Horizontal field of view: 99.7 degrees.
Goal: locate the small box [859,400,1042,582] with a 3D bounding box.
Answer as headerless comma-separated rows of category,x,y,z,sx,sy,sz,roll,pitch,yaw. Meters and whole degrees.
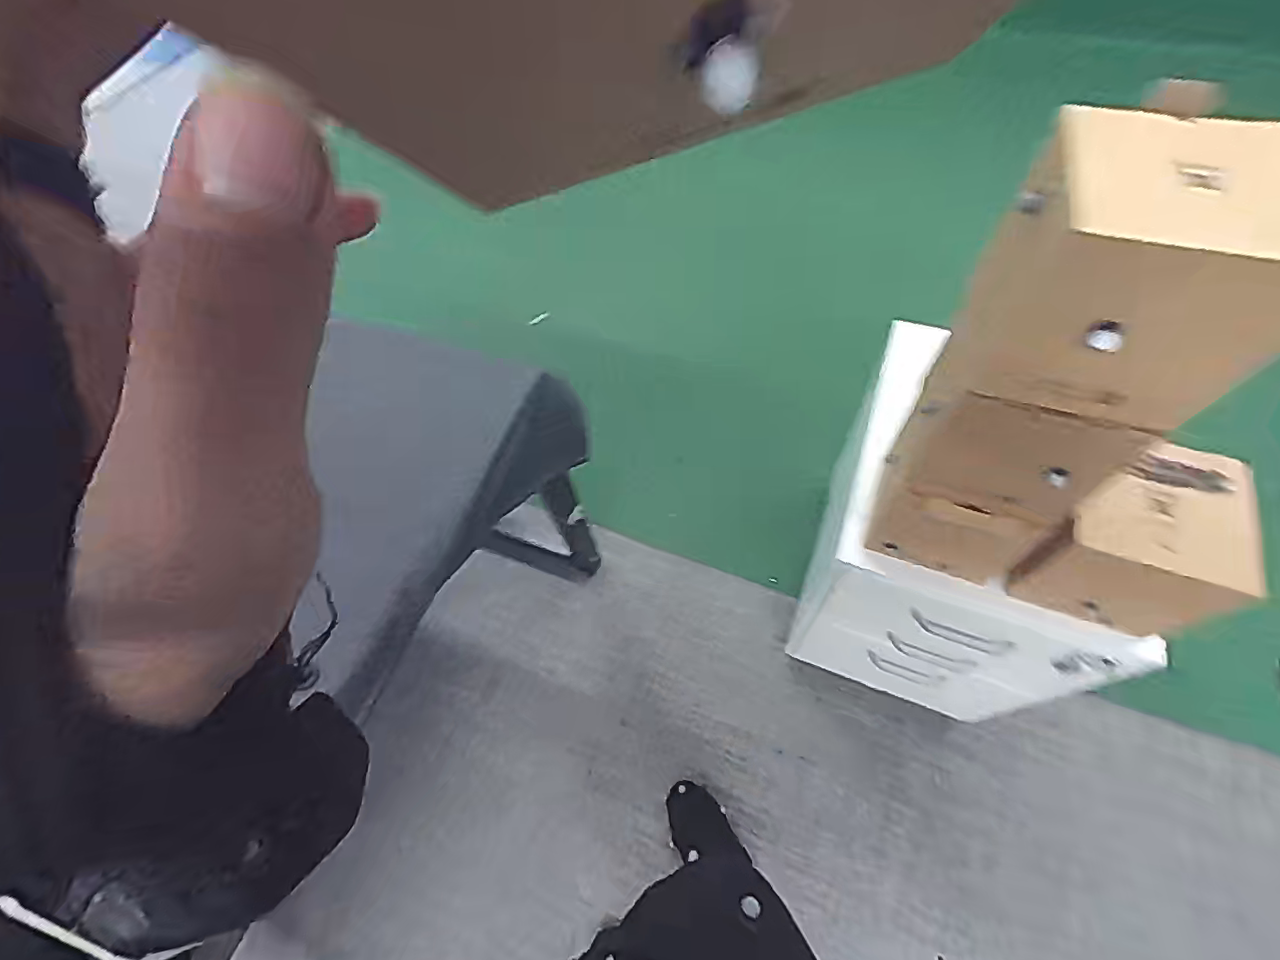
small box,0.409,0.013,0.726,0.168,0.176,0.179,18,61,15

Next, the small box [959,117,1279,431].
small box,0.393,-0.167,0.455,0.168,0.176,0.179,15,60,12

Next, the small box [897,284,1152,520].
small box,0.400,-0.080,0.593,0.168,0.176,0.179,16,60,12
